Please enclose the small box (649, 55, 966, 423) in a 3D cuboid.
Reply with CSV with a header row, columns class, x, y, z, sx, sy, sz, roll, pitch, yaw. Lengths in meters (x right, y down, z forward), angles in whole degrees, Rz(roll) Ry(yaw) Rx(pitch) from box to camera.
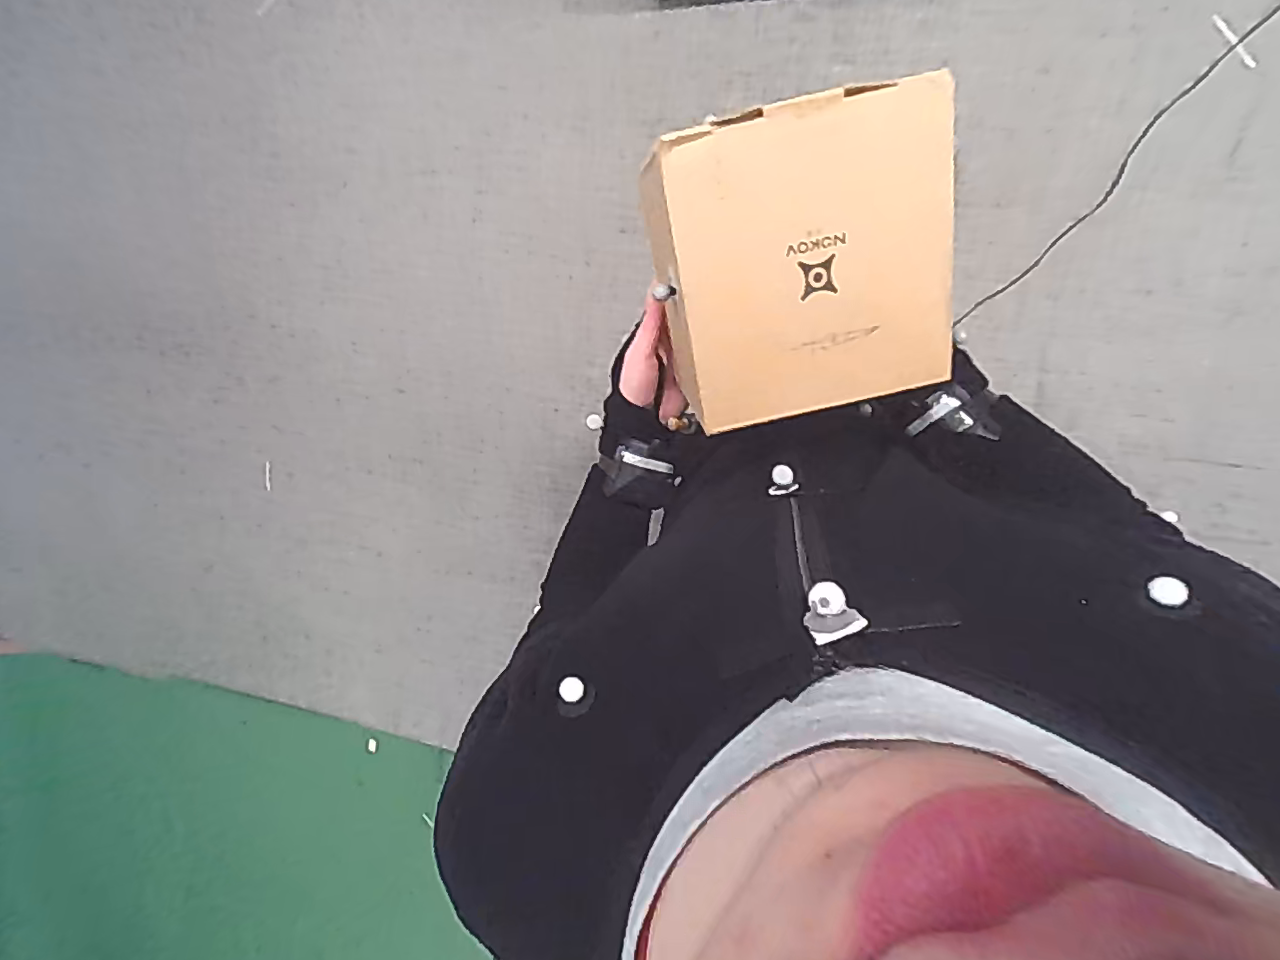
class,x,y,z,sx,sy,sz,roll,pitch,yaw
small box,0.107,-0.162,0.396,0.168,0.176,0.179,-14,113,2
